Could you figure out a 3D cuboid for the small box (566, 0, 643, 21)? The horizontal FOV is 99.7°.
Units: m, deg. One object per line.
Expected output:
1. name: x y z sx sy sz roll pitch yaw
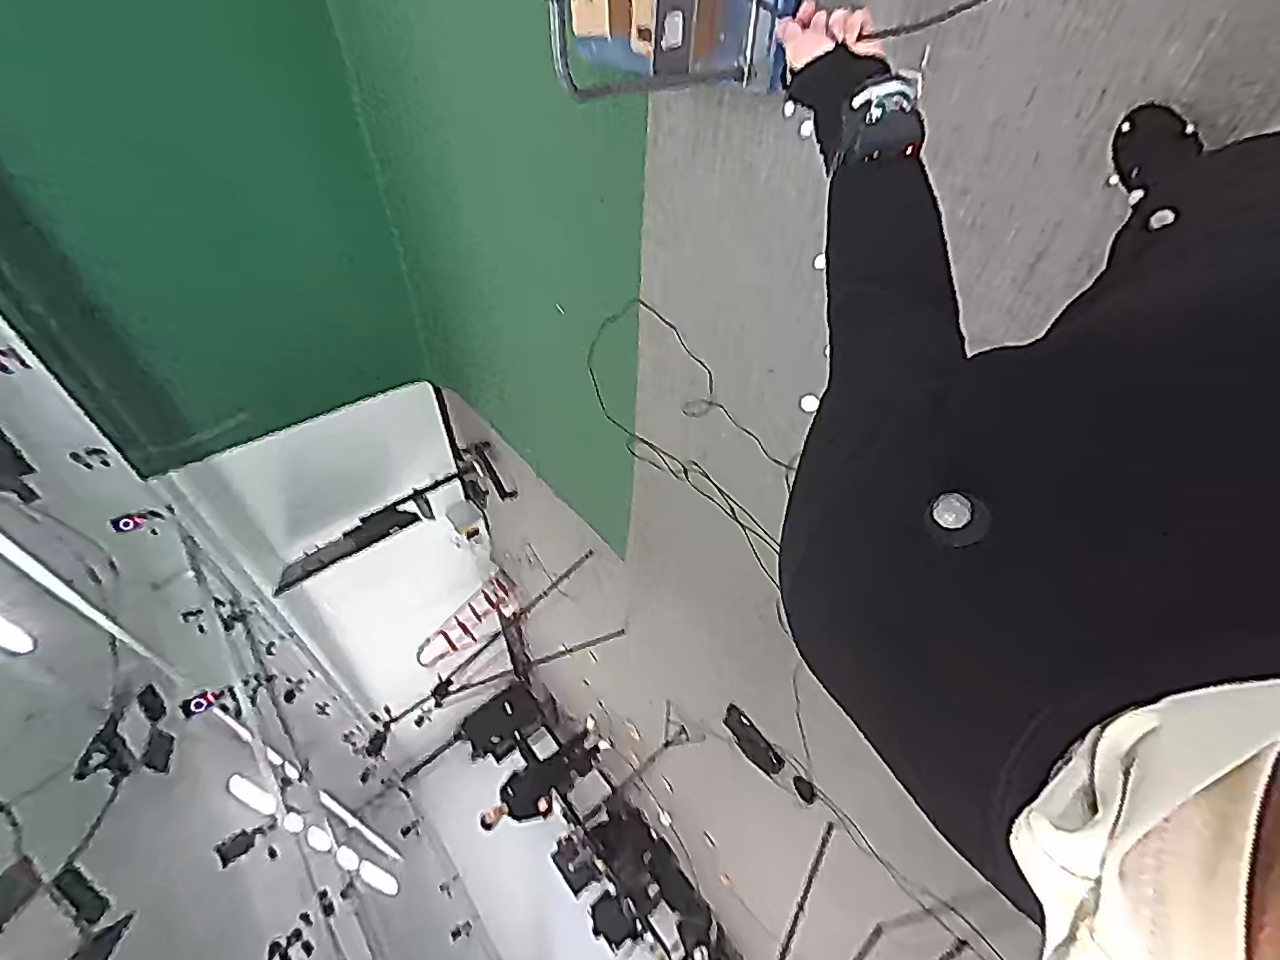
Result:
1. small box: -0.101 -1.449 1.572 0.179 0.176 0.168 37 143 34
